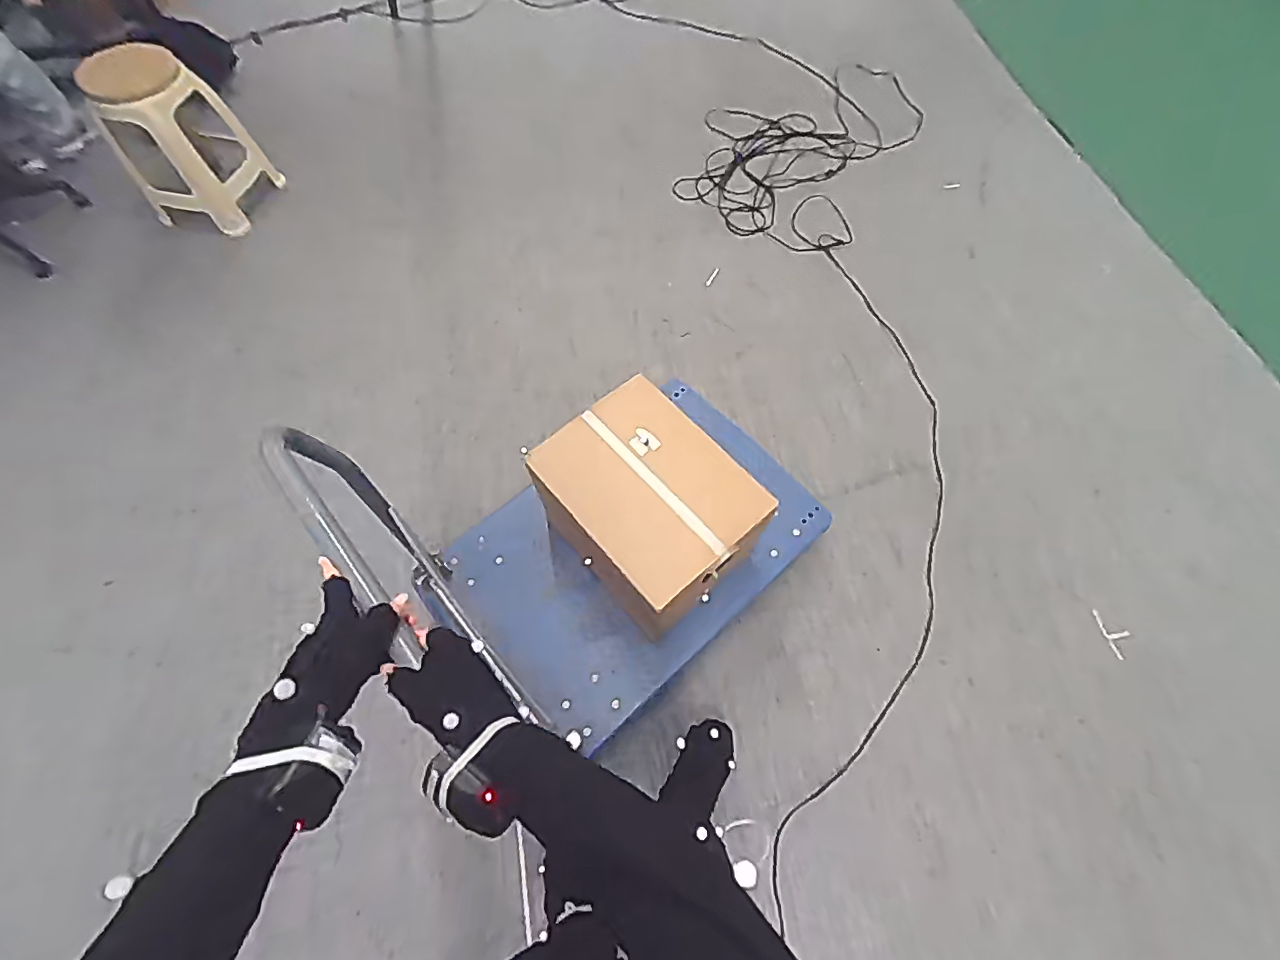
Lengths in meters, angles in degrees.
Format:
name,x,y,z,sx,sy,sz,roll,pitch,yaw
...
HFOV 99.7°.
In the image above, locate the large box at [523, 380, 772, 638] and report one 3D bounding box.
name,x,y,z,sx,sy,sz,roll,pitch,yaw
large box,0.014,0.071,1.181,0.320,0.320,0.408,-38,69,-18
